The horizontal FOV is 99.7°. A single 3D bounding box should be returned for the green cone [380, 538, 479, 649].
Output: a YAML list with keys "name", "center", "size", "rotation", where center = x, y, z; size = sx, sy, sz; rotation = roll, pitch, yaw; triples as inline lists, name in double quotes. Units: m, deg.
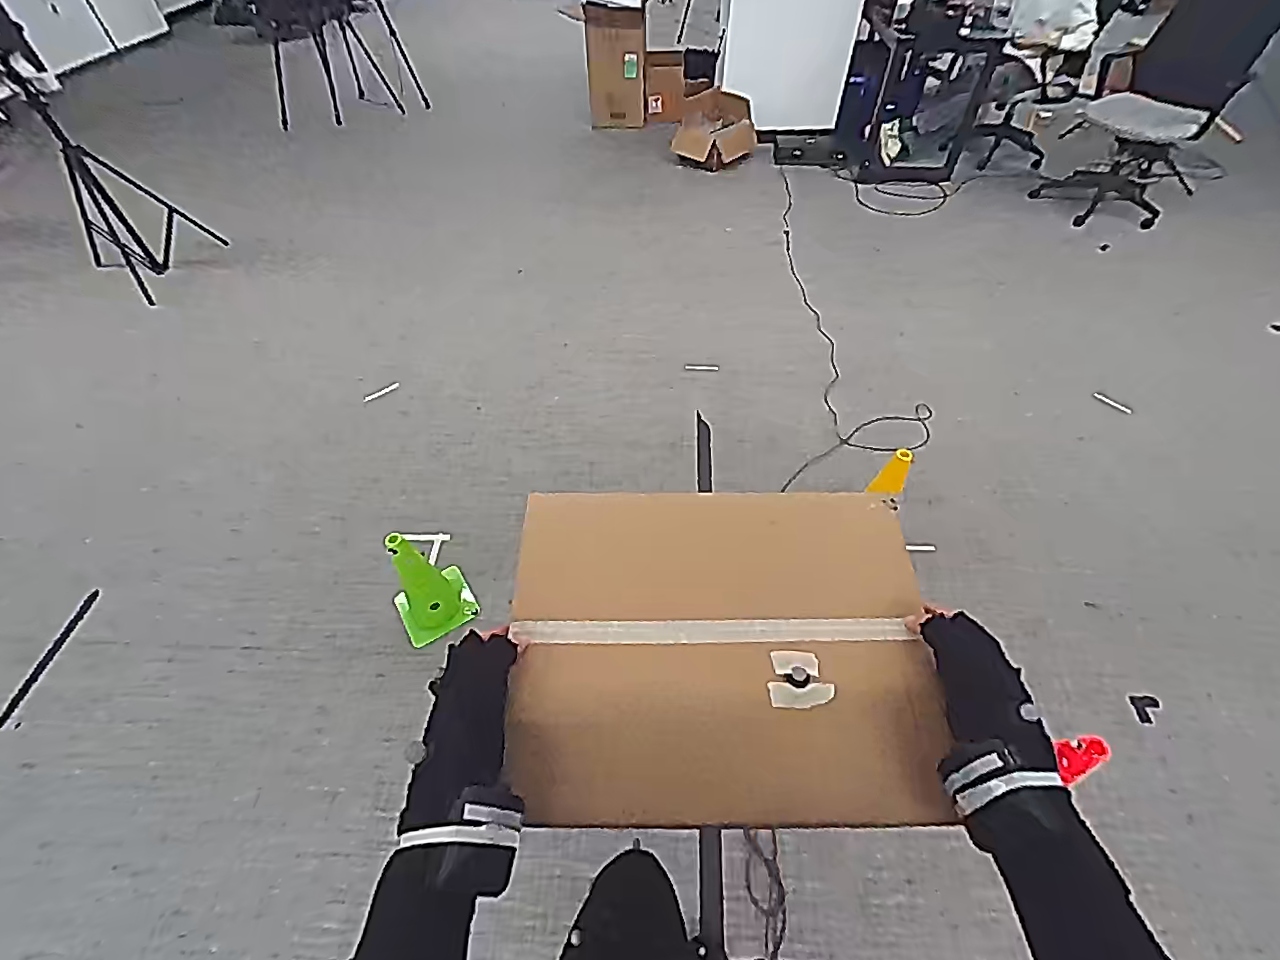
- name: "green cone"
  center: [-0.605, 0.265, 1.463]
  size: [0.202, 0.368, 0.200]
  rotation: [-30, 55, -19]

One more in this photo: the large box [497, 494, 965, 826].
- name: "large box"
  center: [0.072, 0.228, 0.654]
  size: [0.408, 0.320, 0.320]
  rotation: [0, 57, 0]

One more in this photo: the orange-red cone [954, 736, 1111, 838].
- name: "orange-red cone"
  center: [0.859, 0.609, 1.141]
  size: [0.198, 0.360, 0.199]
  rotation: [0, 49, 0]
